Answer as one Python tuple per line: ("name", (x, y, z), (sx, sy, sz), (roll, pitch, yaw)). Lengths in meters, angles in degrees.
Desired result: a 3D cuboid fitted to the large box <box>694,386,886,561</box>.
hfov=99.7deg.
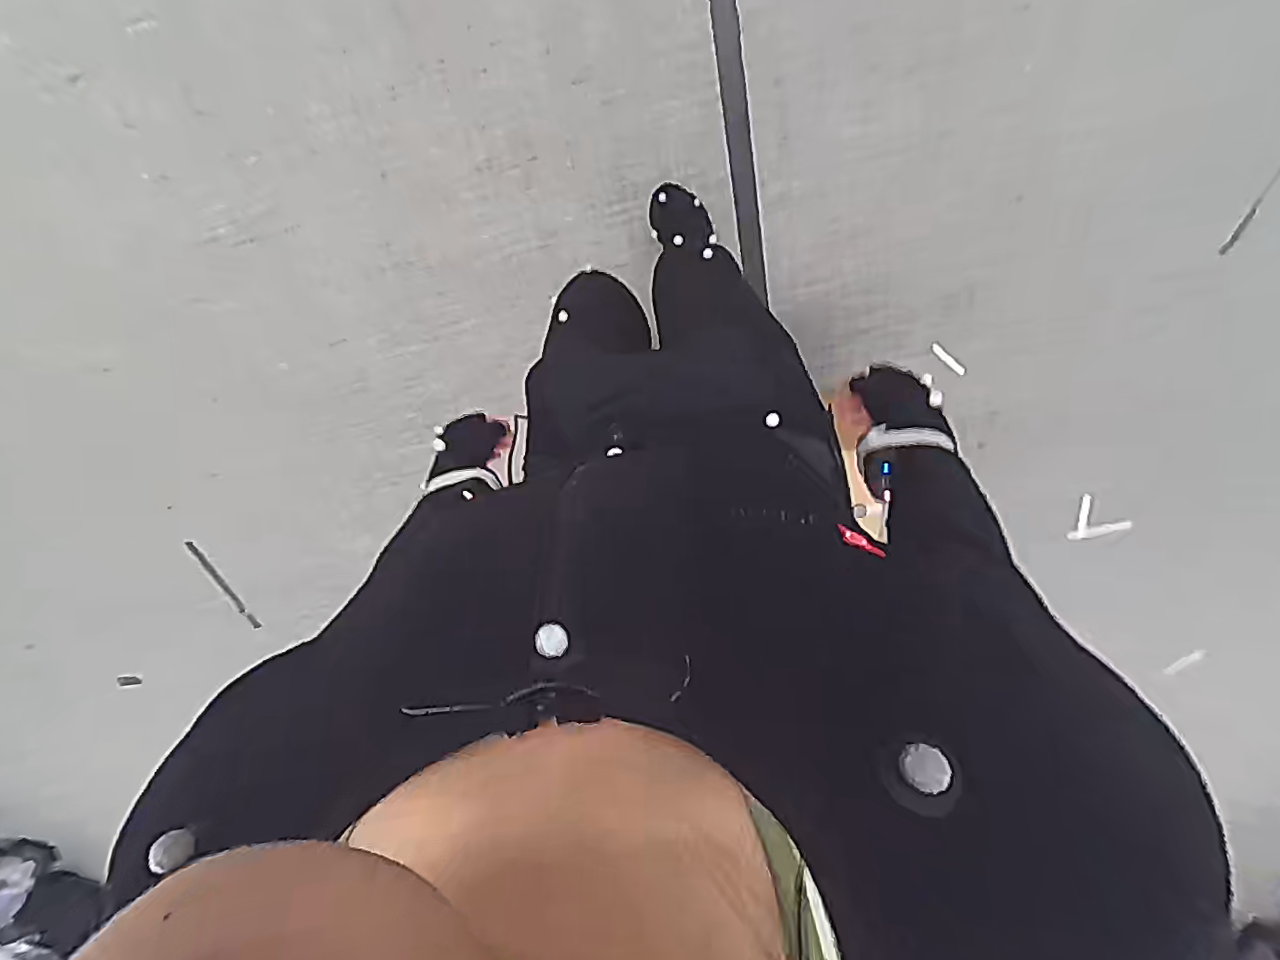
("large box", (0.356, -0.023, 1.383), (0.408, 0.320, 0.320), (-5, 122, 4))
